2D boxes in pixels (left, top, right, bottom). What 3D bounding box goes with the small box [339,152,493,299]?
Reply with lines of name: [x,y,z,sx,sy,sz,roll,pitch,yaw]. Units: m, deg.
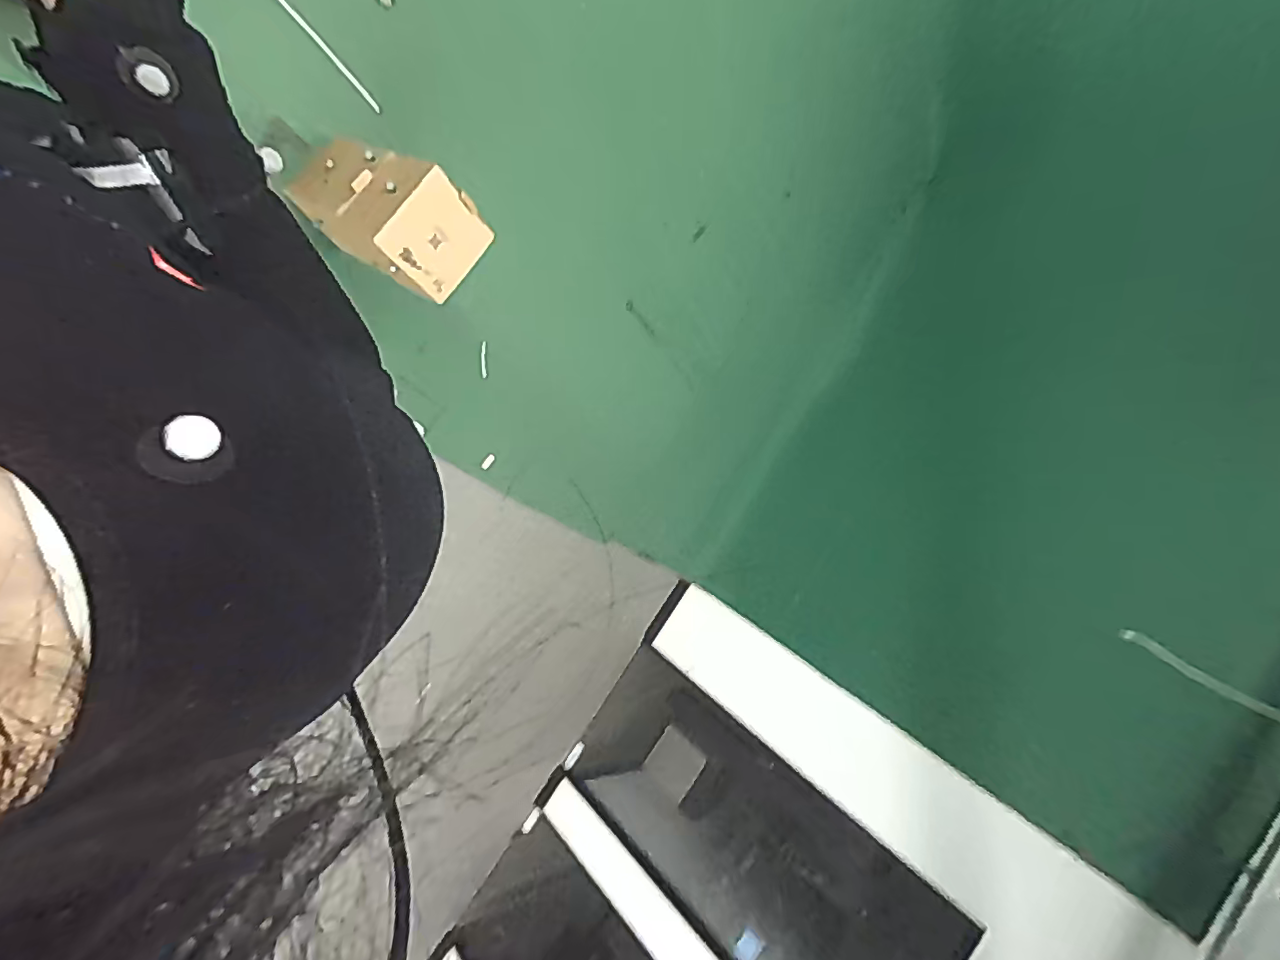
small box: [-0.423,-0.483,1.019,0.179,0.176,0.168,-54,148,-7]

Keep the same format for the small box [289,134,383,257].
small box: [-0.644,-0.637,1.208,0.179,0.176,0.168,-51,146,-9]
